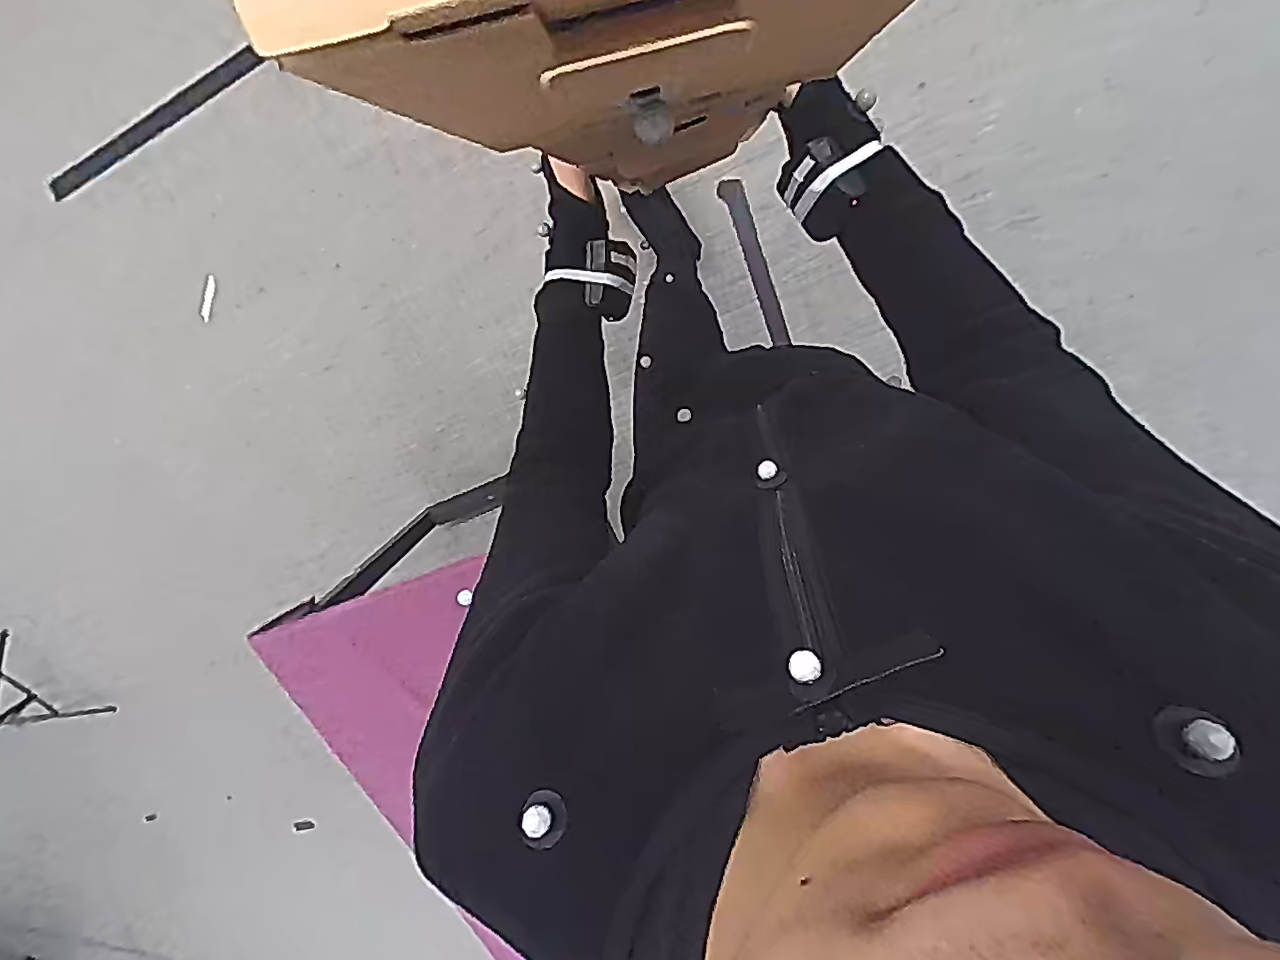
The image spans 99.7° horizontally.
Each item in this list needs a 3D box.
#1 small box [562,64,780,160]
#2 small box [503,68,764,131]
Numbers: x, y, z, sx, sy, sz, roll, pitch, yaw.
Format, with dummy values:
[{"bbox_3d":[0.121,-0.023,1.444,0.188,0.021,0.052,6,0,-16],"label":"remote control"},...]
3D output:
[{"bbox_3d":[0.005,-0.376,0.432,0.168,0.176,0.179,-14,113,11],"label":"small box"},{"bbox_3d":[-0.009,-0.308,0.285,0.168,0.176,0.179,-14,114,10],"label":"small box"}]
